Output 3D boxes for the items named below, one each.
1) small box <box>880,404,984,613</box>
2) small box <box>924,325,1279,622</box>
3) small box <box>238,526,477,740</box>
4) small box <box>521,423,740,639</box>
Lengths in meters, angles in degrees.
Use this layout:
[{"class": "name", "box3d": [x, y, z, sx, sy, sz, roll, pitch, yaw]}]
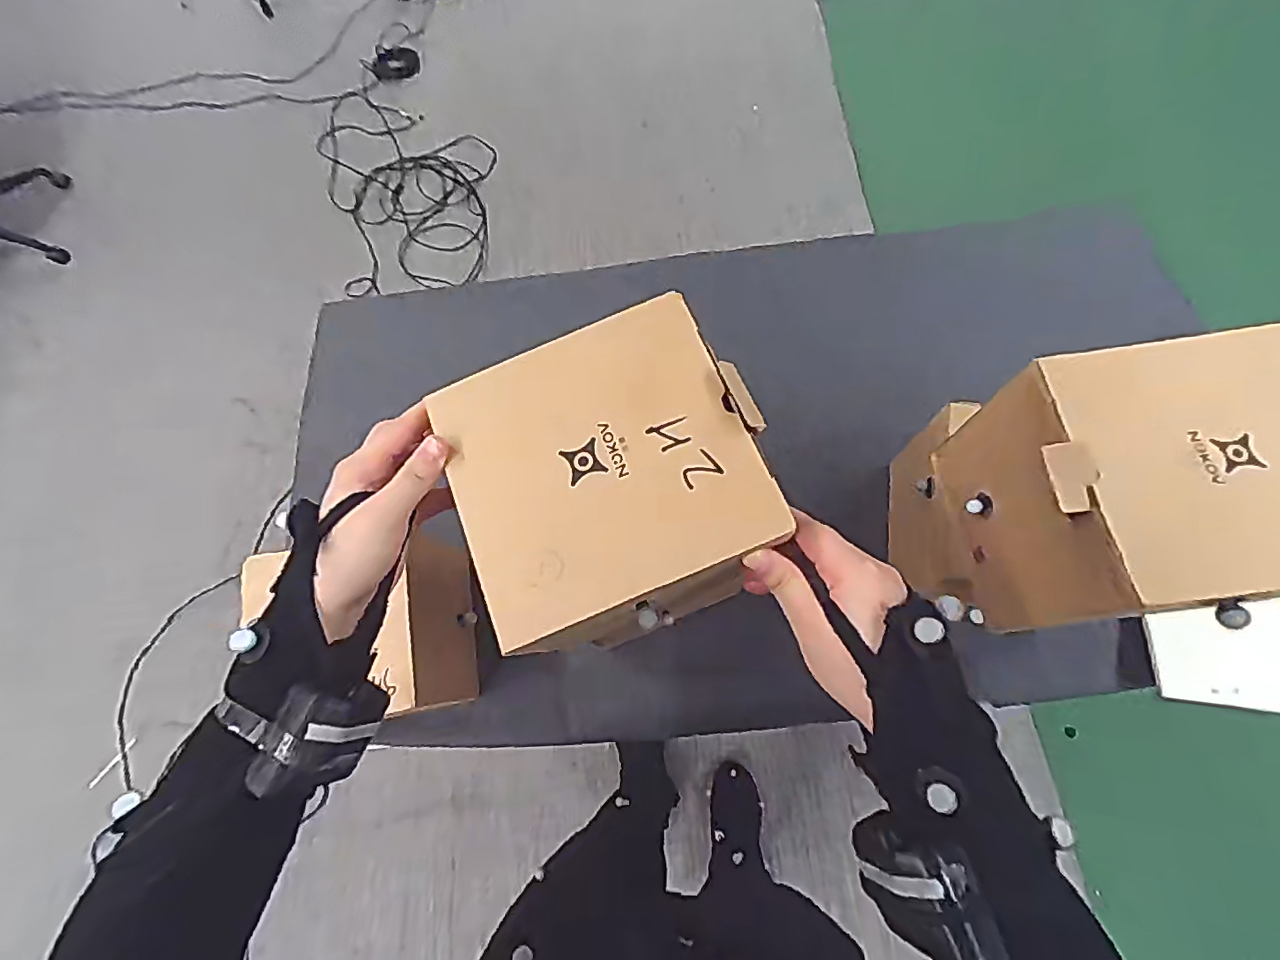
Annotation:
[{"class": "small box", "box3d": [0.365, 0.041, 0.572, 0.168, 0.176, 0.179, 6, 72, 9]}, {"class": "small box", "box3d": [0.355, 0.010, 0.411, 0.179, 0.176, 0.168, -9, 70, 3]}, {"class": "small box", "box3d": [-0.292, 0.168, 0.592, 0.168, 0.176, 0.179, -12, 70, 1]}, {"class": "small box", "box3d": [-0.006, 0.069, 0.602, 0.179, 0.176, 0.168, -23, 72, -3]}]
